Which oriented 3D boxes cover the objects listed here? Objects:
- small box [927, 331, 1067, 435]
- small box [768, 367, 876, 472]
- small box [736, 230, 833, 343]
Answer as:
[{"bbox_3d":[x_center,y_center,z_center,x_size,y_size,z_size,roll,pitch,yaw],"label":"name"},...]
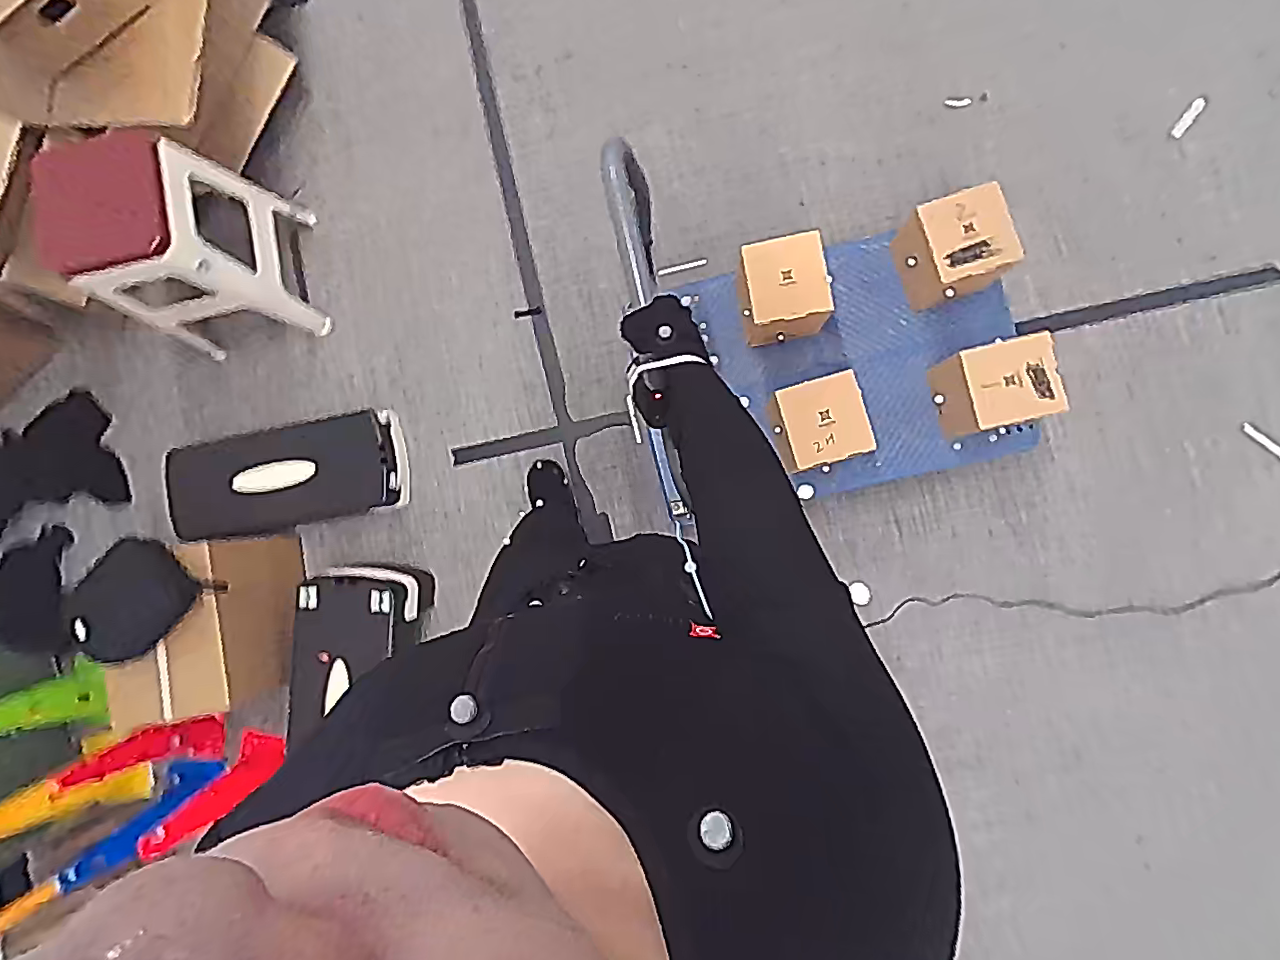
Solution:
[{"bbox_3d":[0.755,-0.201,1.161,0.179,0.176,0.168,-13,86,6],"label":"small box"},{"bbox_3d":[0.391,-0.125,1.195,0.168,0.176,0.179,-16,86,5],"label":"small box"},{"bbox_3d":[0.316,-0.426,1.216,0.168,0.176,0.179,-10,89,4],"label":"small box"}]
